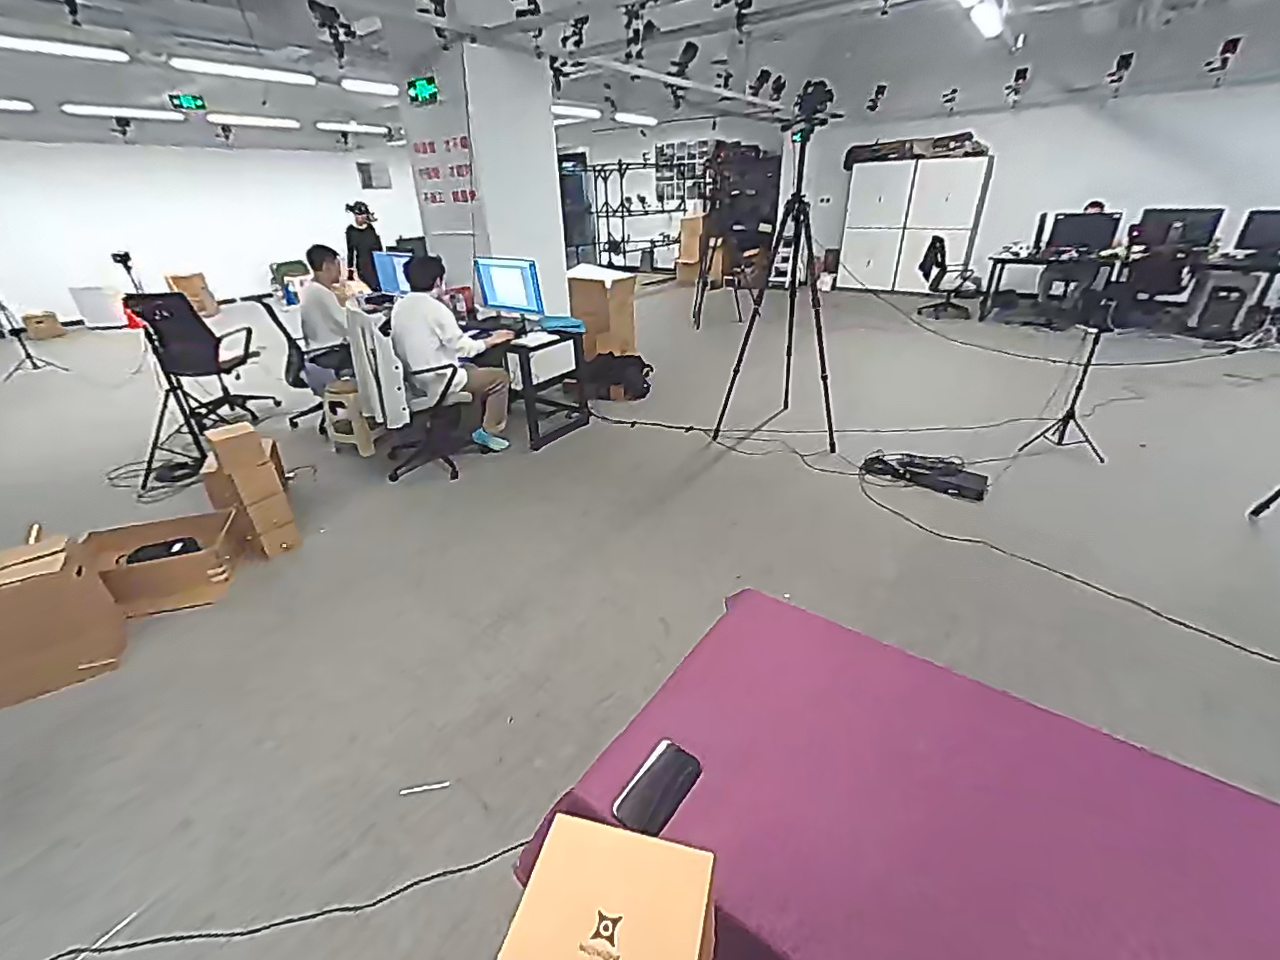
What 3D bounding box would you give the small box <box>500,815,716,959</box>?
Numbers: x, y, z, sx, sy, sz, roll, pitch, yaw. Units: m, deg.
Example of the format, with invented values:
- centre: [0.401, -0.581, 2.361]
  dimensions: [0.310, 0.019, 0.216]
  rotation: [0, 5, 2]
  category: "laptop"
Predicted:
- centre: [-0.026, 0.467, 0.508]
  dimensions: [0.168, 0.176, 0.179]
  rotation: [5, 30, 16]
  category: "small box"
